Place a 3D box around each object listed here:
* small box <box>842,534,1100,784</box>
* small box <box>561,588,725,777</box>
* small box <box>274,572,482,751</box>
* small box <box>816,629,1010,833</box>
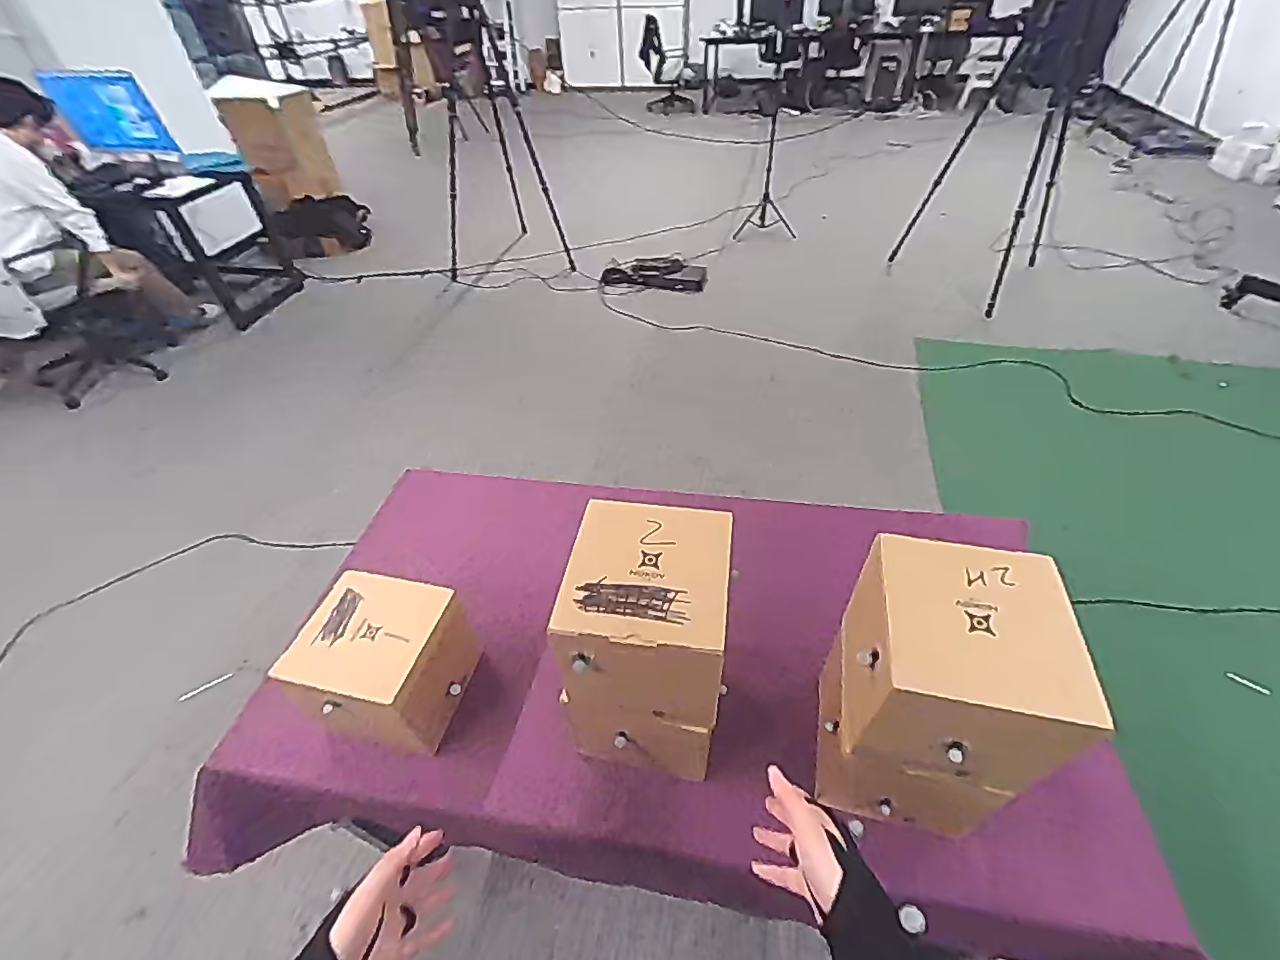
[{"bbox_3d":[0.313,0.184,0.558,0.168,0.176,0.179,8,45,11],"label":"small box"},{"bbox_3d":[0.014,0.271,0.724,0.179,0.176,0.168,7,45,12],"label":"small box"},{"bbox_3d":[-0.350,0.256,0.762,0.179,0.176,0.168,8,45,11],"label":"small box"},{"bbox_3d":[0.319,0.302,0.673,0.168,0.176,0.179,9,46,12],"label":"small box"}]
